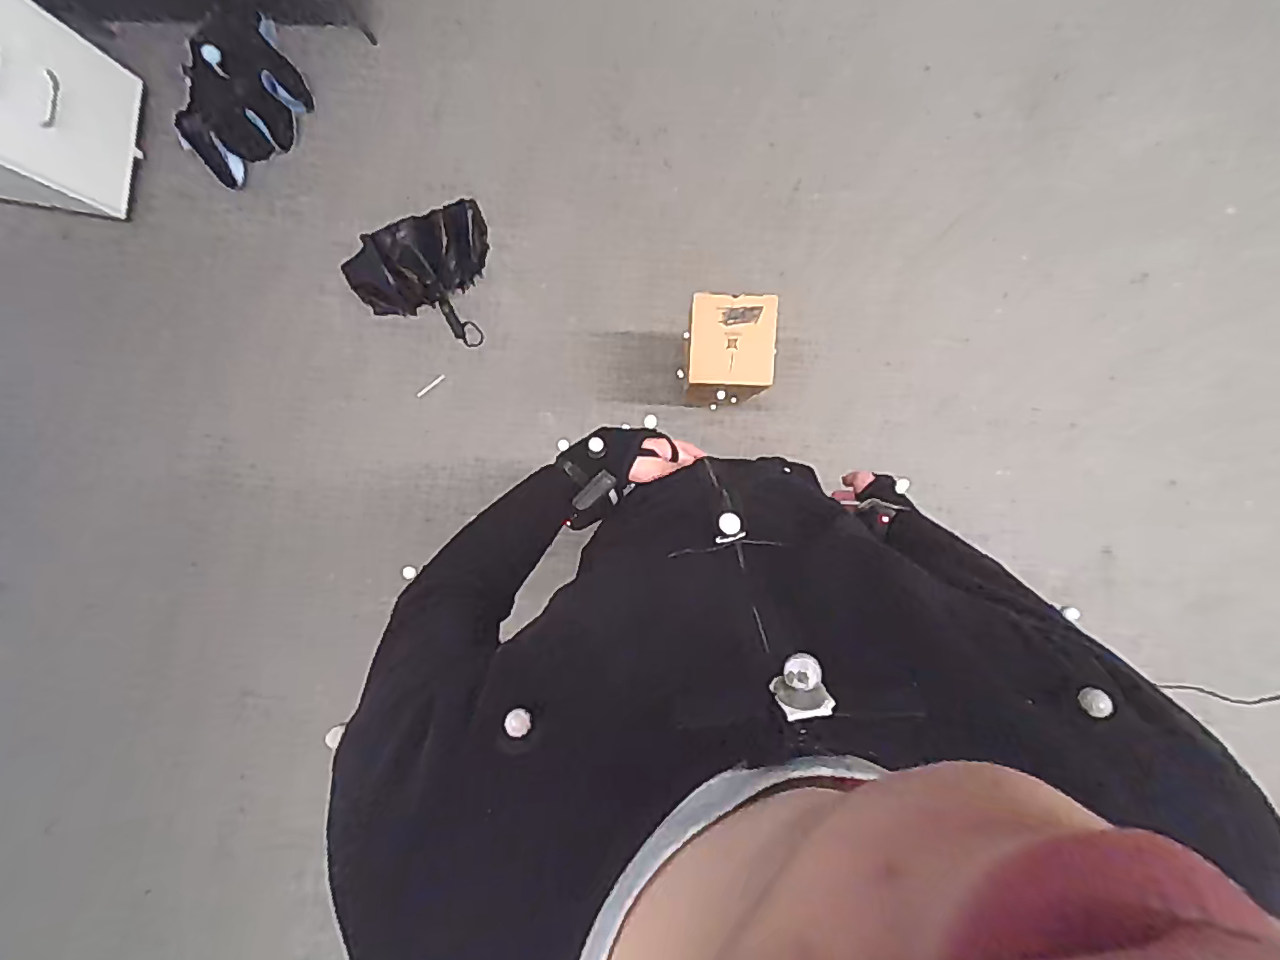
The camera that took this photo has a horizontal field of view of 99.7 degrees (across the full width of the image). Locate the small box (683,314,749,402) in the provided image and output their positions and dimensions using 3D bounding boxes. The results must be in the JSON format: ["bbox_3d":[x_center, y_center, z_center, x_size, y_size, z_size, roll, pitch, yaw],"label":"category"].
[{"bbox_3d":[0.188,-0.281,1.278,0.168,0.176,0.179,3,91,2],"label":"small box"}]

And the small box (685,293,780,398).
[{"bbox_3d":[0.182,-0.270,1.113,0.168,0.176,0.179,4,94,2],"label":"small box"}]

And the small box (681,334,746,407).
[{"bbox_3d":[0.196,-0.287,1.439,0.168,0.176,0.179,2,93,2],"label":"small box"}]
